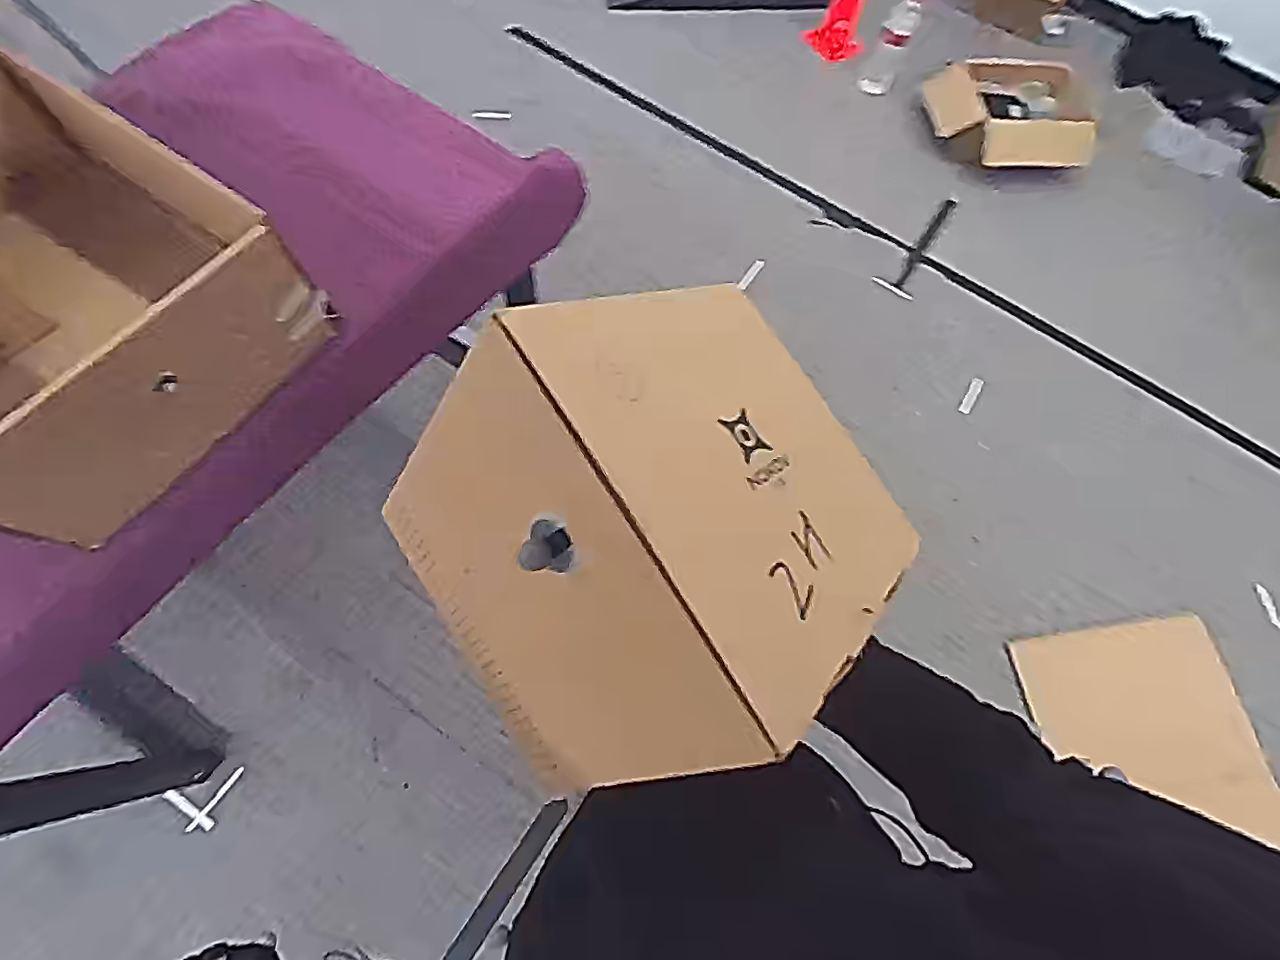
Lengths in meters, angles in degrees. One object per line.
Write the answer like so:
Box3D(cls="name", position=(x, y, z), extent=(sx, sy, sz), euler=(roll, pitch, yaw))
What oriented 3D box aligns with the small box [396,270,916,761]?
Box3D(cls="small box", position=(-0.001, 0.018, 0.286), extent=(0.168, 0.176, 0.179), euler=(-27, 81, -45))
